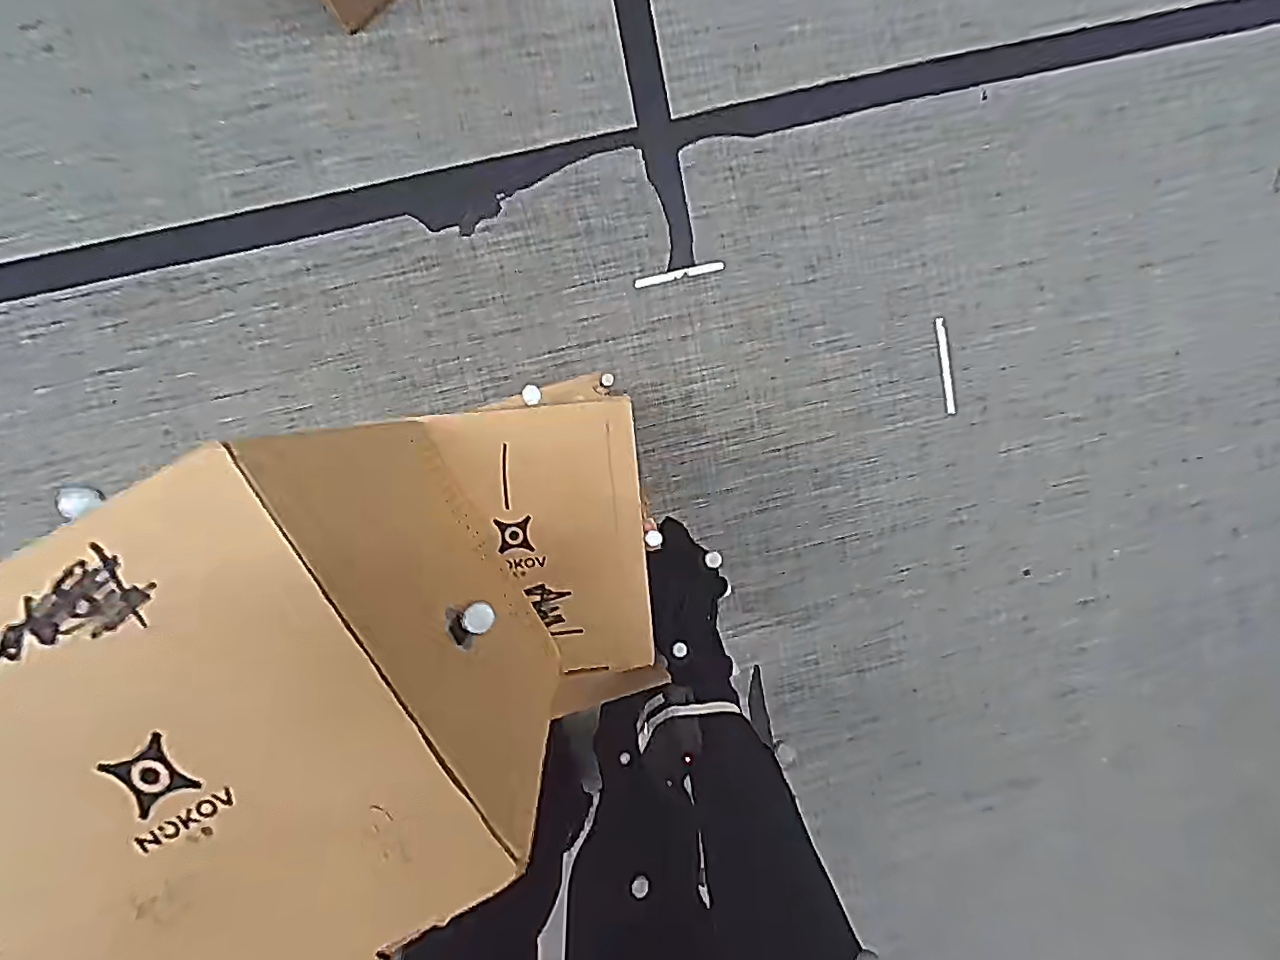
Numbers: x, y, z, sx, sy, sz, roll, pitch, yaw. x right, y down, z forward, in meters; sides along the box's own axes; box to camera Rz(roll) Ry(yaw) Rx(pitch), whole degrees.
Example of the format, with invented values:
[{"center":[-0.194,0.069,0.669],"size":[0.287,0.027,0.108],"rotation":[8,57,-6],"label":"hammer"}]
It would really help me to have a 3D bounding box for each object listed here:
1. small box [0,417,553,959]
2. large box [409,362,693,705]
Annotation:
[{"center":[-0.155,0.081,0.262],"size":[0.168,0.176,0.179],"rotation":[-29,99,0],"label":"small box"},{"center":[-0.191,0.077,0.670],"size":[0.408,0.320,0.320],"rotation":[-18,99,-2],"label":"large box"}]
